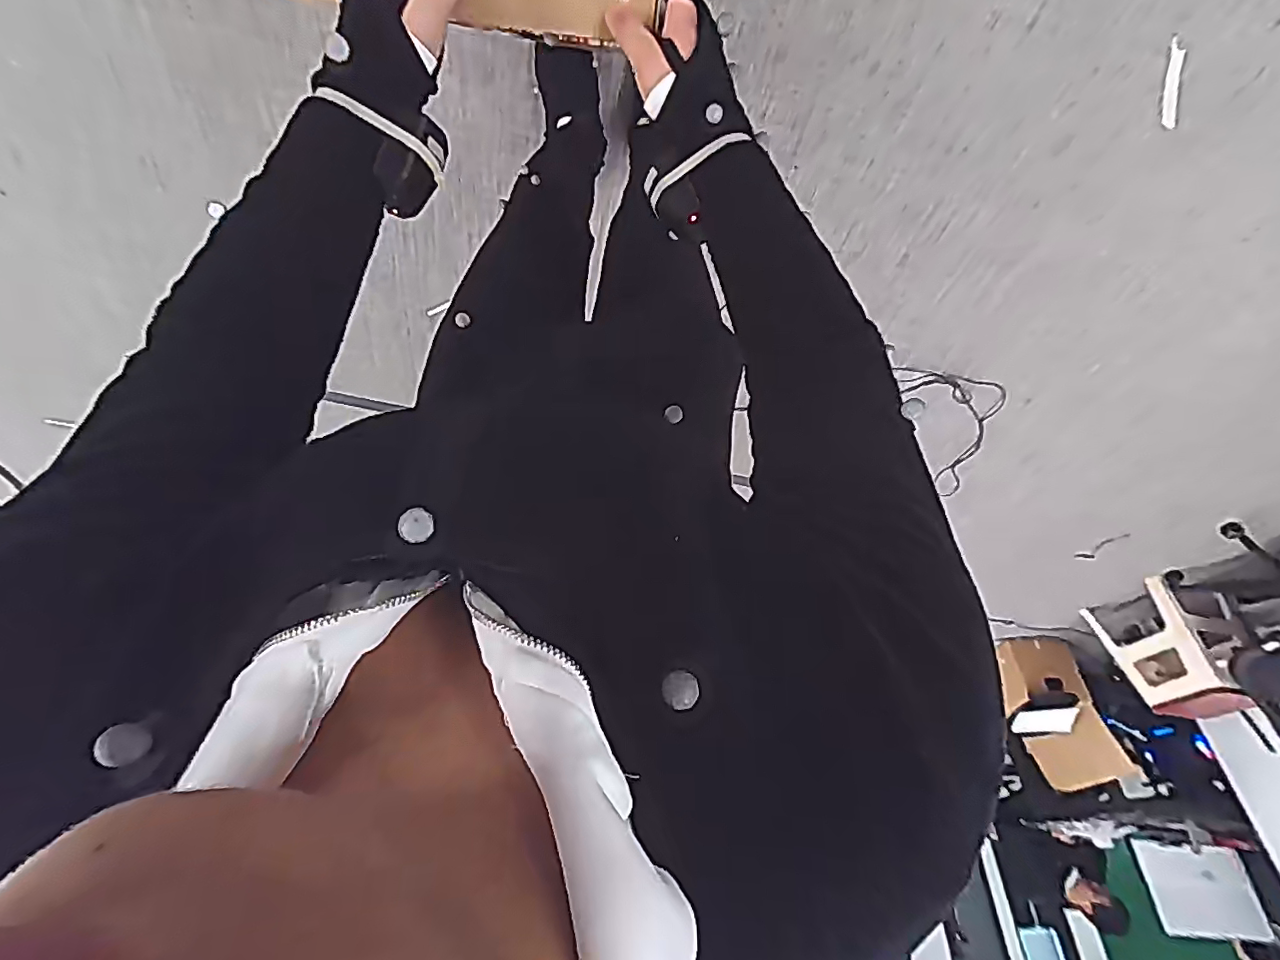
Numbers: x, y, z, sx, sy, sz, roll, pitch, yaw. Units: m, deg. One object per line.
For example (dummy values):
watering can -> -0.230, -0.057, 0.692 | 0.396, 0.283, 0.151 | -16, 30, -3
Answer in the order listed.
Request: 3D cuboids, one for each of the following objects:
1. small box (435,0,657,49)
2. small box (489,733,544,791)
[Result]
small box -> -0.065, -0.476, 0.439 | 0.179, 0.176, 0.168 | 7, 134, -2
small box -> -0.464, 1.060, 2.035 | 0.179, 0.176, 0.168 | 11, 141, -10
